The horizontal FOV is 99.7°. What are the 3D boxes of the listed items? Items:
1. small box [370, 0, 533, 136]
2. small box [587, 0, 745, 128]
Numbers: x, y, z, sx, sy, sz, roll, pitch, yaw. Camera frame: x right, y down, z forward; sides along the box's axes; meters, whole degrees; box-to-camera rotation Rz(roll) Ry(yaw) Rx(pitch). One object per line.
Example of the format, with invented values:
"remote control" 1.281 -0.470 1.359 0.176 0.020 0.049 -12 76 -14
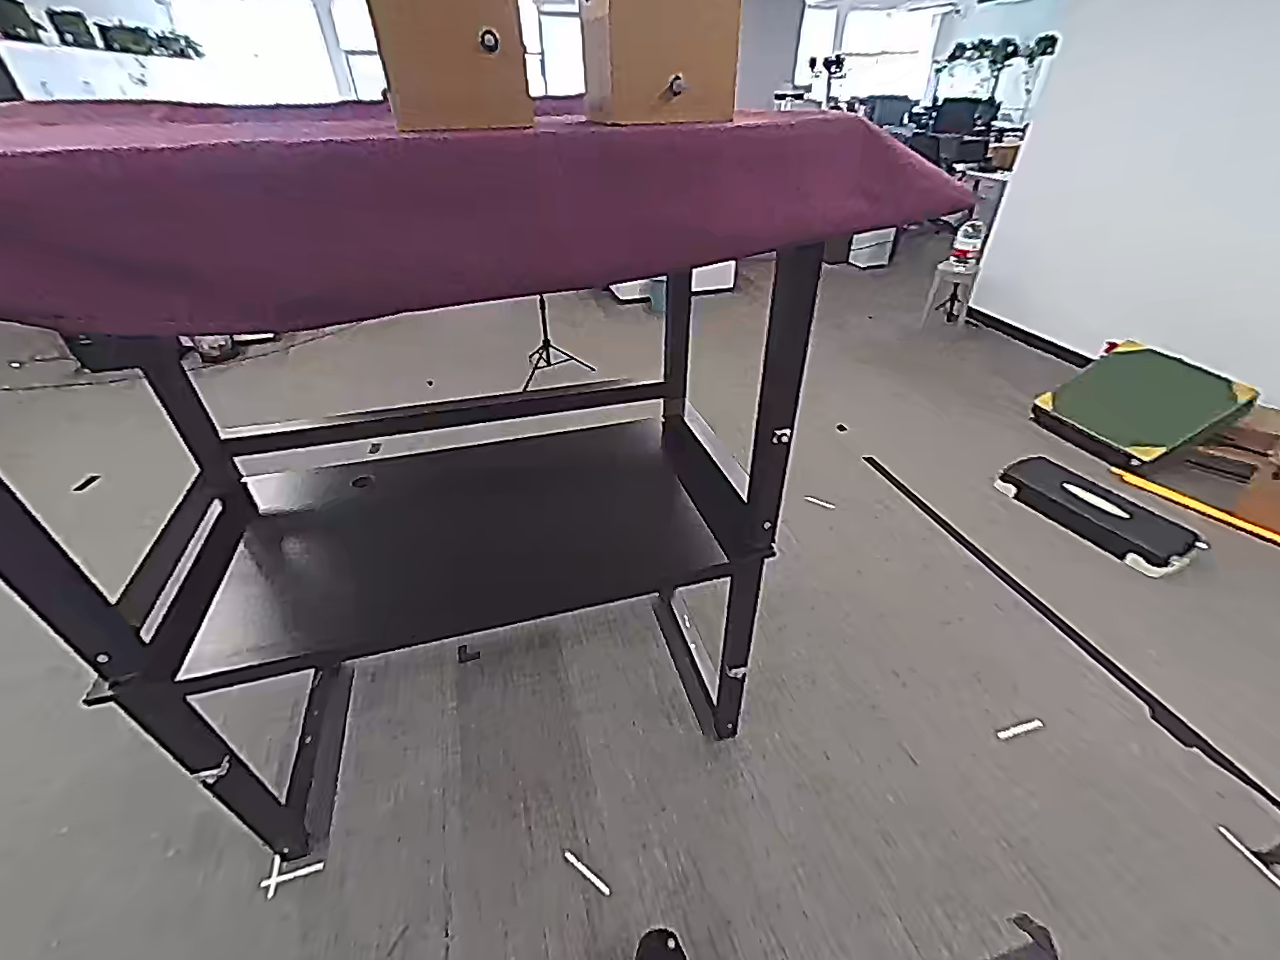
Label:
"small box" -0.239 -0.560 0.710 0.179 0.176 0.168 -10 36 -12
"small box" 0.027 -0.587 0.737 0.179 0.176 0.168 -11 36 -14
